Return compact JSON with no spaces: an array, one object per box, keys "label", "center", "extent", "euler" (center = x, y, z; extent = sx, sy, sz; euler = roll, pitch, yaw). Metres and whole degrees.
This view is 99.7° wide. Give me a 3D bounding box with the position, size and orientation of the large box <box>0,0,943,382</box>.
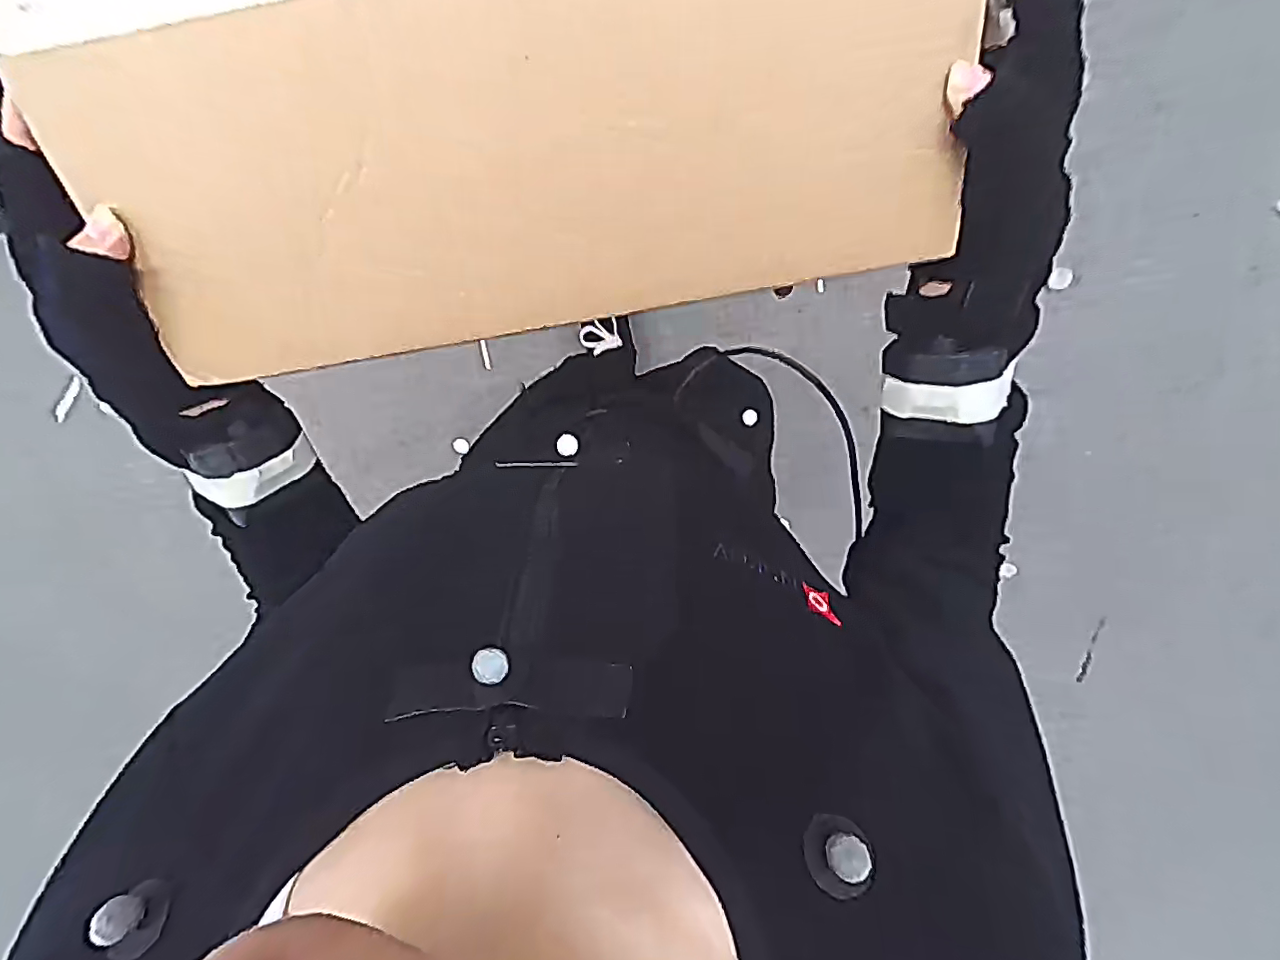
[{"label":"large box","center":[-0.074,-0.290,0.349],"extent":[0.408,0.320,0.320],"euler":[-8,118,4]}]
